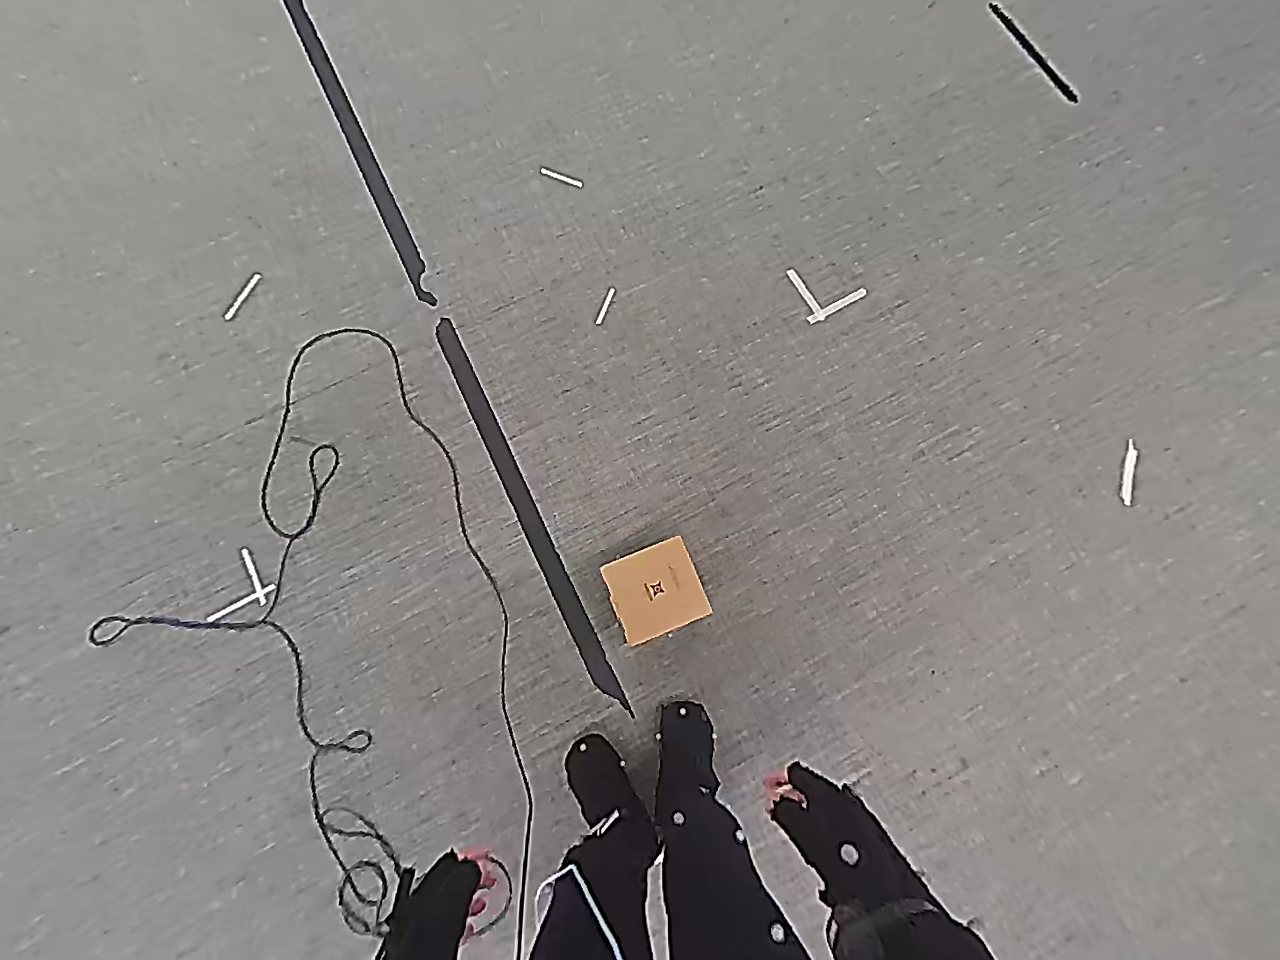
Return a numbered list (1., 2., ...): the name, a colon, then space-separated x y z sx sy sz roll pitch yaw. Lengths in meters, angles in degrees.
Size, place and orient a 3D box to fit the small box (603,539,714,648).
1. small box: 0.036 0.237 1.124 0.179 0.176 0.168 -21 78 -6
